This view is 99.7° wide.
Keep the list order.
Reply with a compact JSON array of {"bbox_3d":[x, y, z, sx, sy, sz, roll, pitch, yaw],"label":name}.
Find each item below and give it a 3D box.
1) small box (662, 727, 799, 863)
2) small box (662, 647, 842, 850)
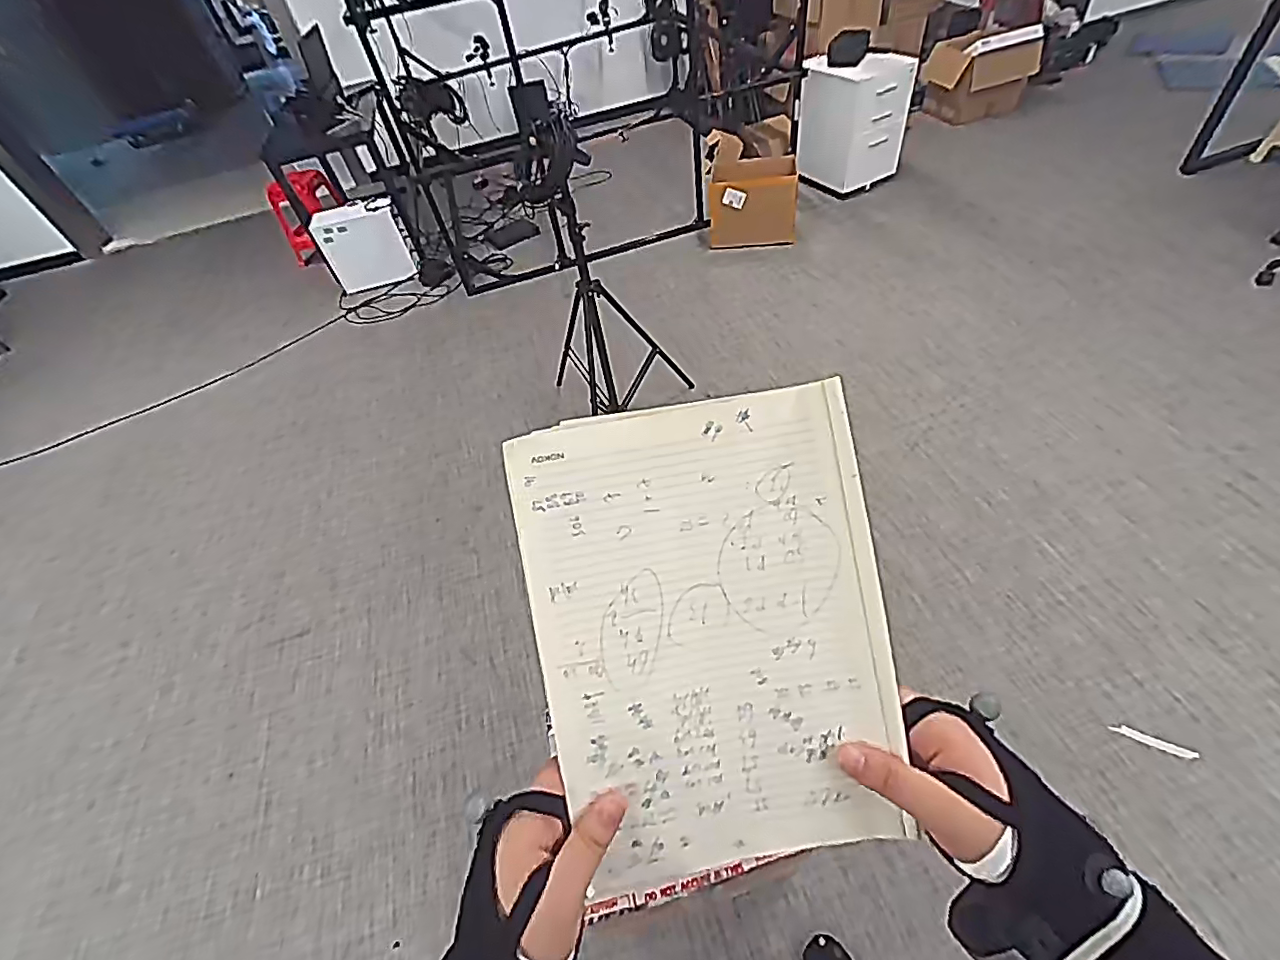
[{"bbox_3d":[0.144,0.457,0.828,0.179,0.176,0.168,-18,50,-8],"label":"small box"},{"bbox_3d":[0.131,0.350,0.704,0.168,0.176,0.179,-15,51,-6],"label":"small box"}]
